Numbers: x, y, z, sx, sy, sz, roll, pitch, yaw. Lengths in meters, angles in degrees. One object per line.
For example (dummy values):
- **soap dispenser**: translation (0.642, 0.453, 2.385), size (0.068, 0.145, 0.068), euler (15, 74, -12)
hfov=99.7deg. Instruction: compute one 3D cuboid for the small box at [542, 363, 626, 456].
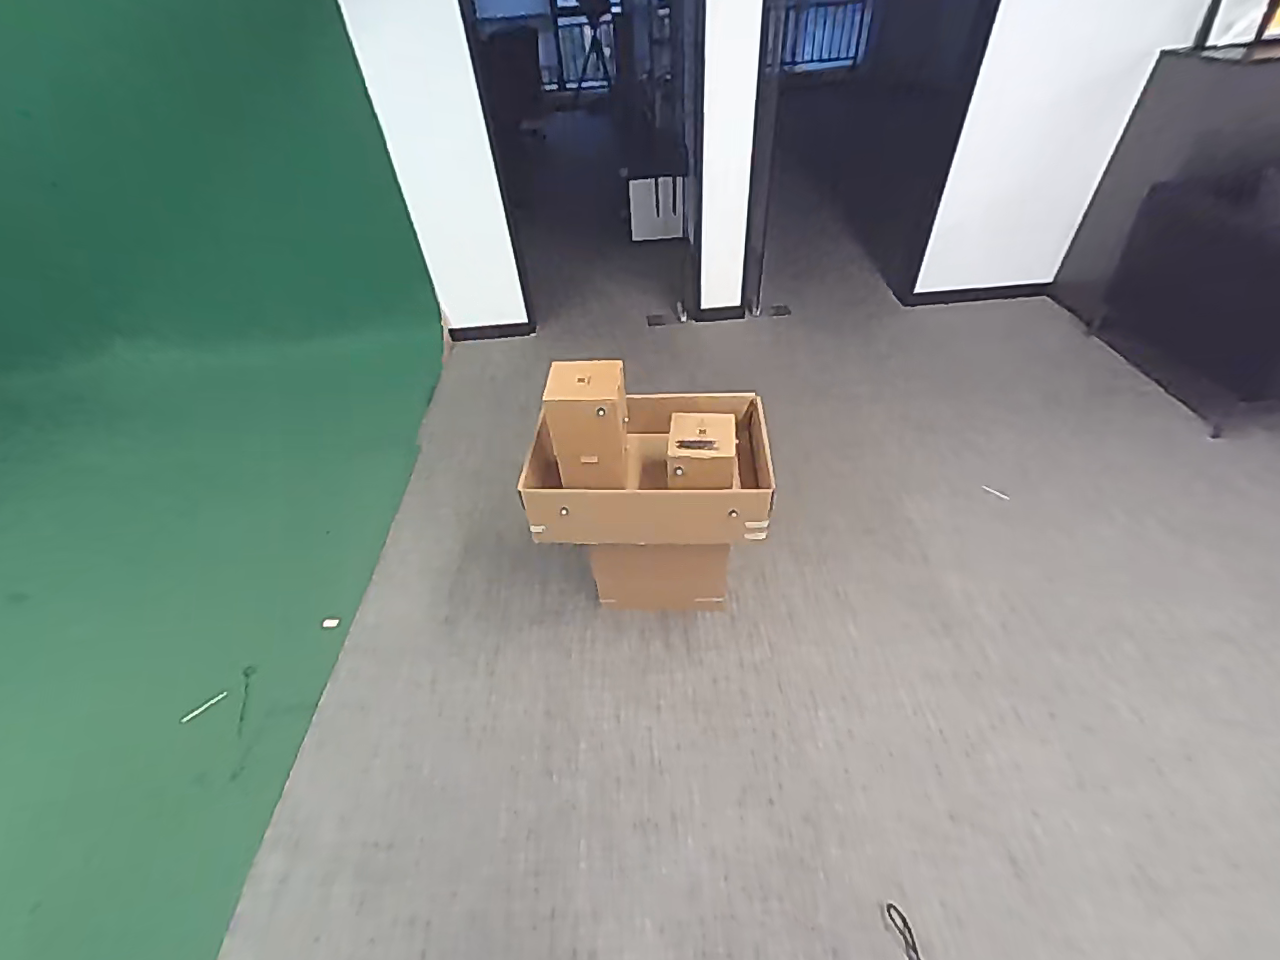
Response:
- **small box**: translation (-0.130, -0.171, 1.327), size (0.179, 0.176, 0.168), euler (1, 44, 2)
